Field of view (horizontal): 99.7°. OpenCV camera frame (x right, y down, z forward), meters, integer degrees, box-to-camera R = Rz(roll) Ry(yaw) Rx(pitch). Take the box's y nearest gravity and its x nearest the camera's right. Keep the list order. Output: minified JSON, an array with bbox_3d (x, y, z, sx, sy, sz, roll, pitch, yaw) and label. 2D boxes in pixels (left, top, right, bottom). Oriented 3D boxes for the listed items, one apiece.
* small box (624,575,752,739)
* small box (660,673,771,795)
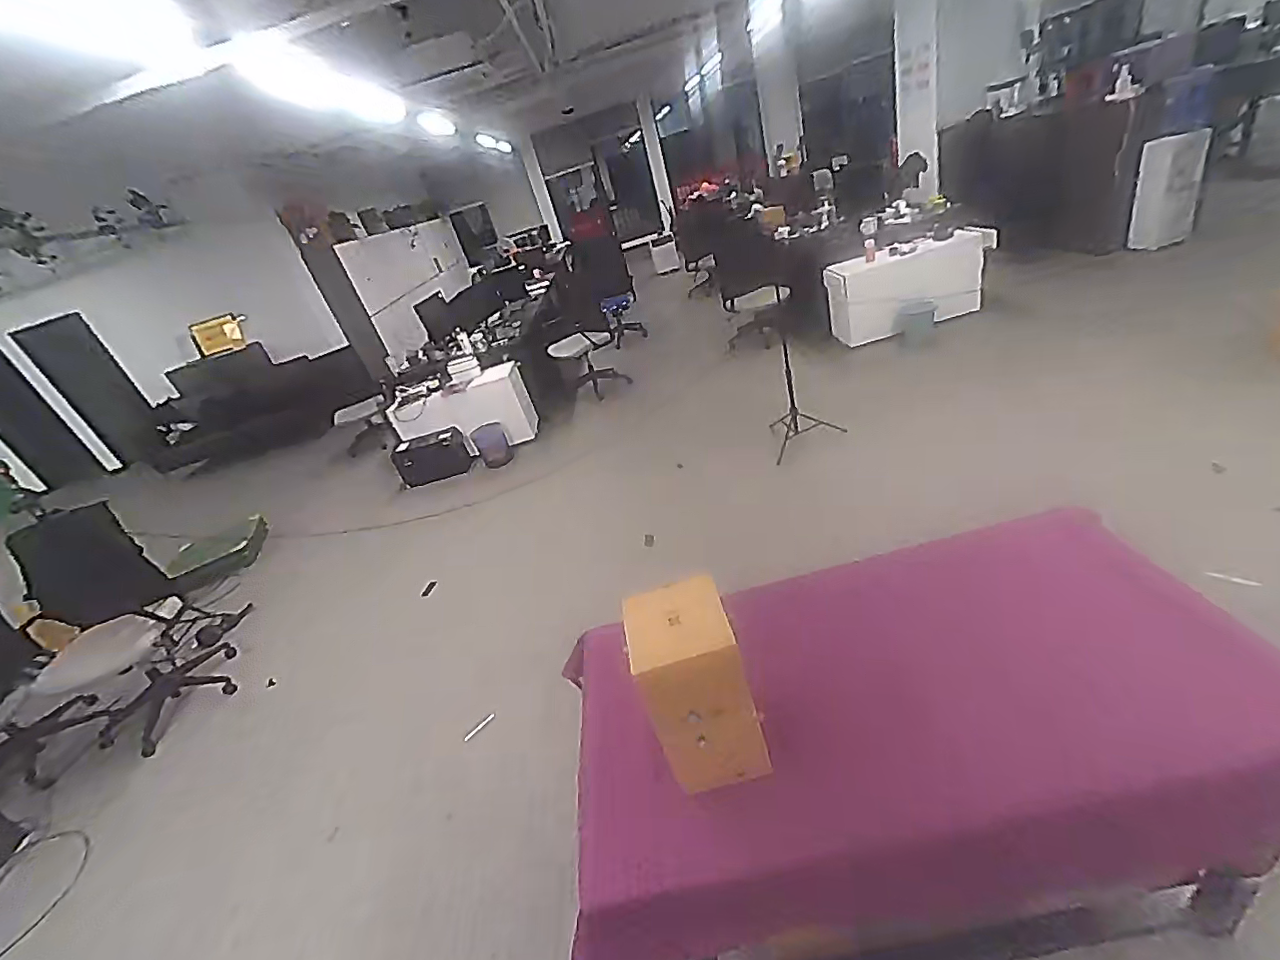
[{"bbox_3d":[0.078,0.296,0.912,0.168,0.176,0.179,-17,29,2],"label":"small box"},{"bbox_3d":[0.127,0.432,0.988,0.168,0.176,0.179,-17,29,3],"label":"small box"}]
